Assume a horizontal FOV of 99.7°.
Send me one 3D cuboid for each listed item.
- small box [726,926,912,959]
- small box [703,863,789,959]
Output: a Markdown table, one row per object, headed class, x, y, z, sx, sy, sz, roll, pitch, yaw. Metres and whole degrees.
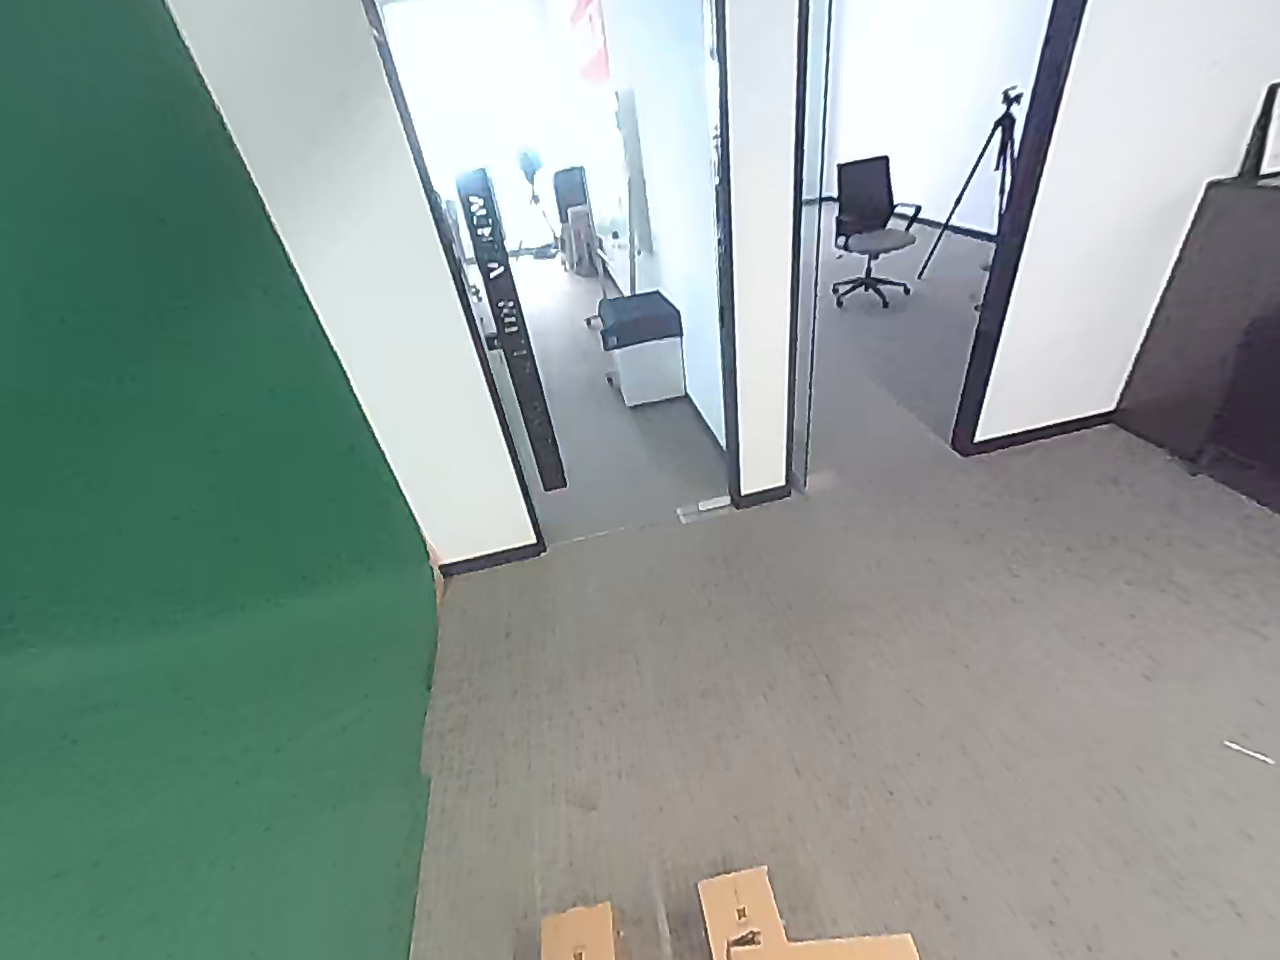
| class | x | y | z | sx | sy | sz | roll | pitch | yaw |
| --- | --- | --- | --- | --- | --- | --- | --- | --- | --- |
| small box | 0.169 | 0.529 | 0.474 | 0.168 | 0.176 | 0.179 | -7 | 38 | 3 |
| small box | 0.250 | 1.033 | 1.249 | 0.168 | 0.176 | 0.179 | -11 | 34 | -2 |
